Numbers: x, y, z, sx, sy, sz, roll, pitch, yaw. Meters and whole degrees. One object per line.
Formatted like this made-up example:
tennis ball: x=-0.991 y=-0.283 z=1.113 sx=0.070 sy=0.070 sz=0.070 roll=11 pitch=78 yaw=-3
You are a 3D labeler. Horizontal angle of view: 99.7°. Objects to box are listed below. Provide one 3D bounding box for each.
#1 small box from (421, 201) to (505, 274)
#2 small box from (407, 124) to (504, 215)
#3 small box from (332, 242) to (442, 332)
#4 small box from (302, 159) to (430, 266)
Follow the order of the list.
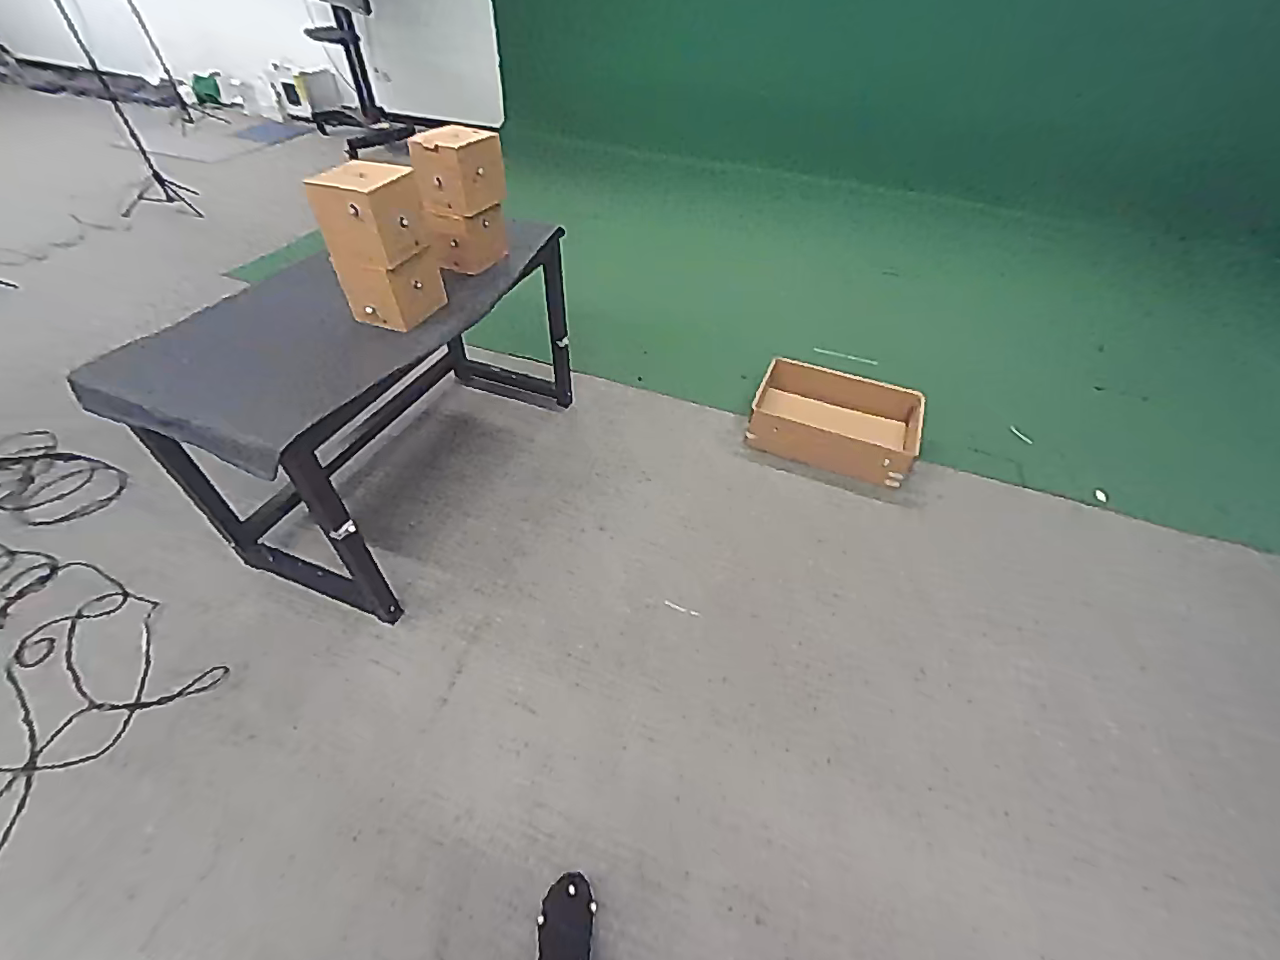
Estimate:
small box: x=-0.516 y=-0.729 z=1.591 sx=0.168 sy=0.176 sz=0.179 roll=20 pitch=48 yaw=16
small box: x=-0.492 y=-0.846 z=1.477 sx=0.168 sy=0.176 sz=0.179 roll=22 pitch=50 yaw=18
small box: x=-0.624 y=-0.501 z=1.364 sx=0.168 sy=0.176 sz=0.179 roll=17 pitch=49 yaw=15
small box: x=-0.615 y=-0.611 z=1.242 sx=0.179 sy=0.176 sz=0.168 roll=16 pitch=48 yaw=14
